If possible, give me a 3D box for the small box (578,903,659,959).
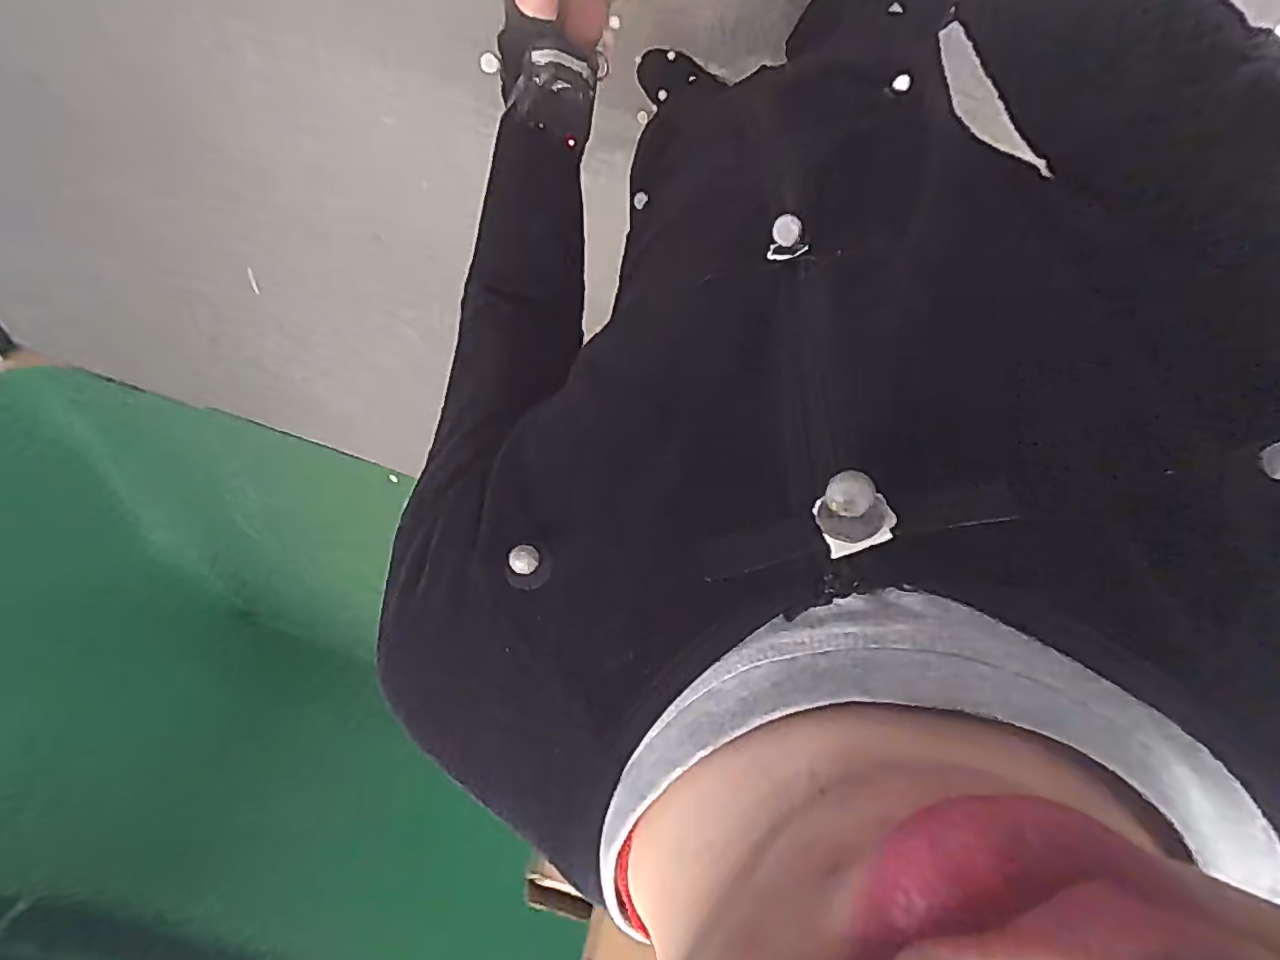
[{"bbox_3d":[-0.061,1.206,1.381,0.168,0.176,0.179,20,141,-3],"label":"small box"}]

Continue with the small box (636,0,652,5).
[{"bbox_3d":[-0.005,-0.474,0.366,0.168,0.176,0.179,-20,118,31],"label":"small box"}]
